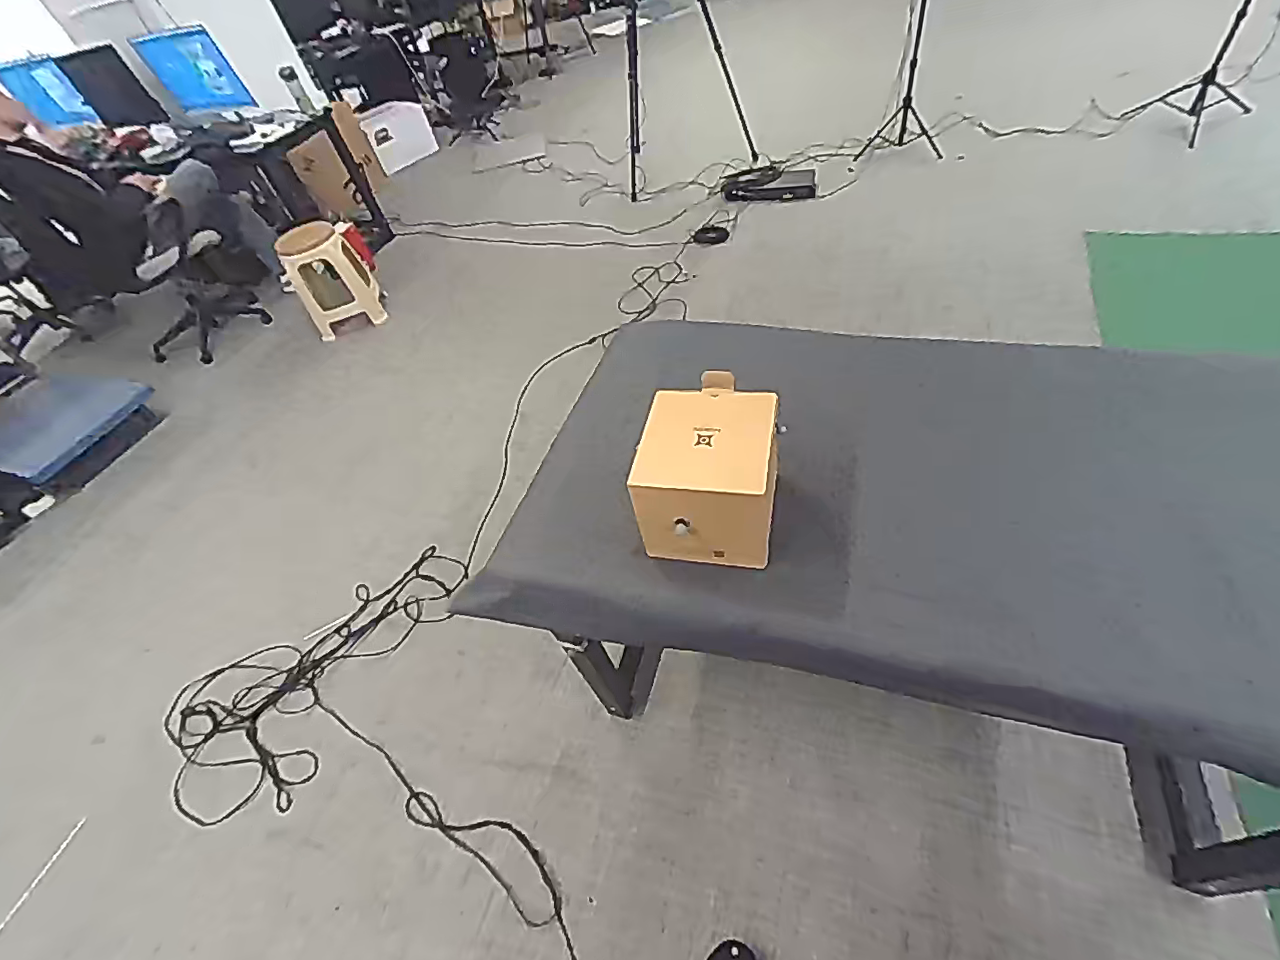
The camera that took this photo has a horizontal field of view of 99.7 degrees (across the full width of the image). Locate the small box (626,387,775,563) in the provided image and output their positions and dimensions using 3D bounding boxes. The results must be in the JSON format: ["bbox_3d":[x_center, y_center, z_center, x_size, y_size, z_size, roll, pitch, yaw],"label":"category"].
[{"bbox_3d":[0.093,-0.006,0.737,0.168,0.176,0.179,5,51,16],"label":"small box"}]
